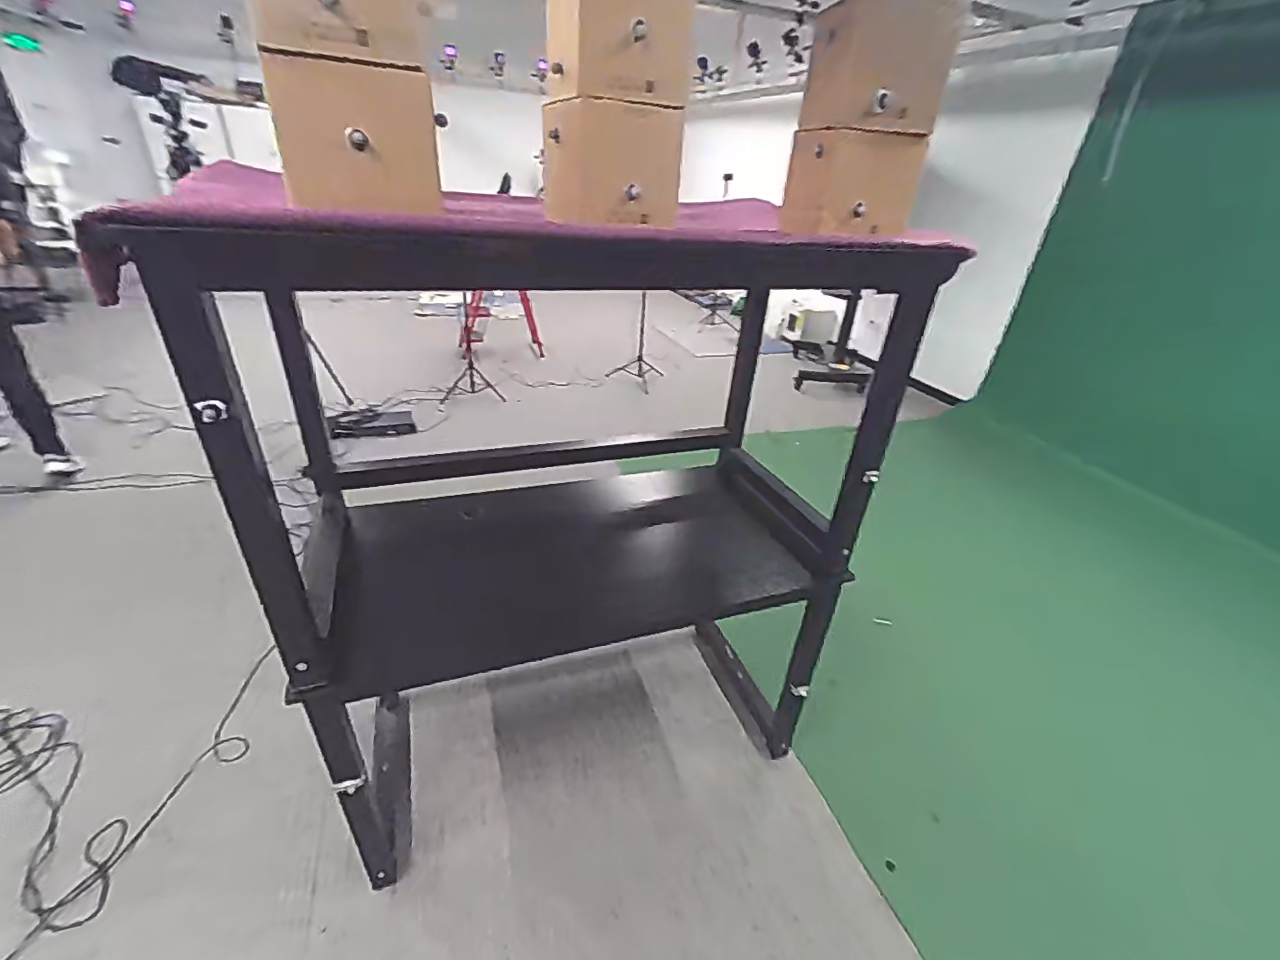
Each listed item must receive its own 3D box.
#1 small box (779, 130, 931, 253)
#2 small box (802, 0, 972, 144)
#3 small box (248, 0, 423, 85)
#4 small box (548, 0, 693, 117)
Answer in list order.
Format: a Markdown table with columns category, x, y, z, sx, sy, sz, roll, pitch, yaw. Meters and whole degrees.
| category | x | y | z | sx | sy | sz | roll | pitch | yaw |
| --- | --- | --- | --- | --- | --- | --- | --- | --- | --- |
| small box | 0.363 | -0.508 | 0.954 | 0.168 | 0.176 | 0.179 | -2 | 32 | -10 |
| small box | 0.376 | -0.643 | 0.865 | 0.168 | 0.176 | 0.179 | -1 | 33 | -6 |
| small box | -0.349 | -0.567 | 0.617 | 0.168 | 0.176 | 0.179 | -9 | 32 | -22 |
| small box | -0.031 | -0.632 | 0.781 | 0.168 | 0.176 | 0.179 | -8 | 32 | -21 |
